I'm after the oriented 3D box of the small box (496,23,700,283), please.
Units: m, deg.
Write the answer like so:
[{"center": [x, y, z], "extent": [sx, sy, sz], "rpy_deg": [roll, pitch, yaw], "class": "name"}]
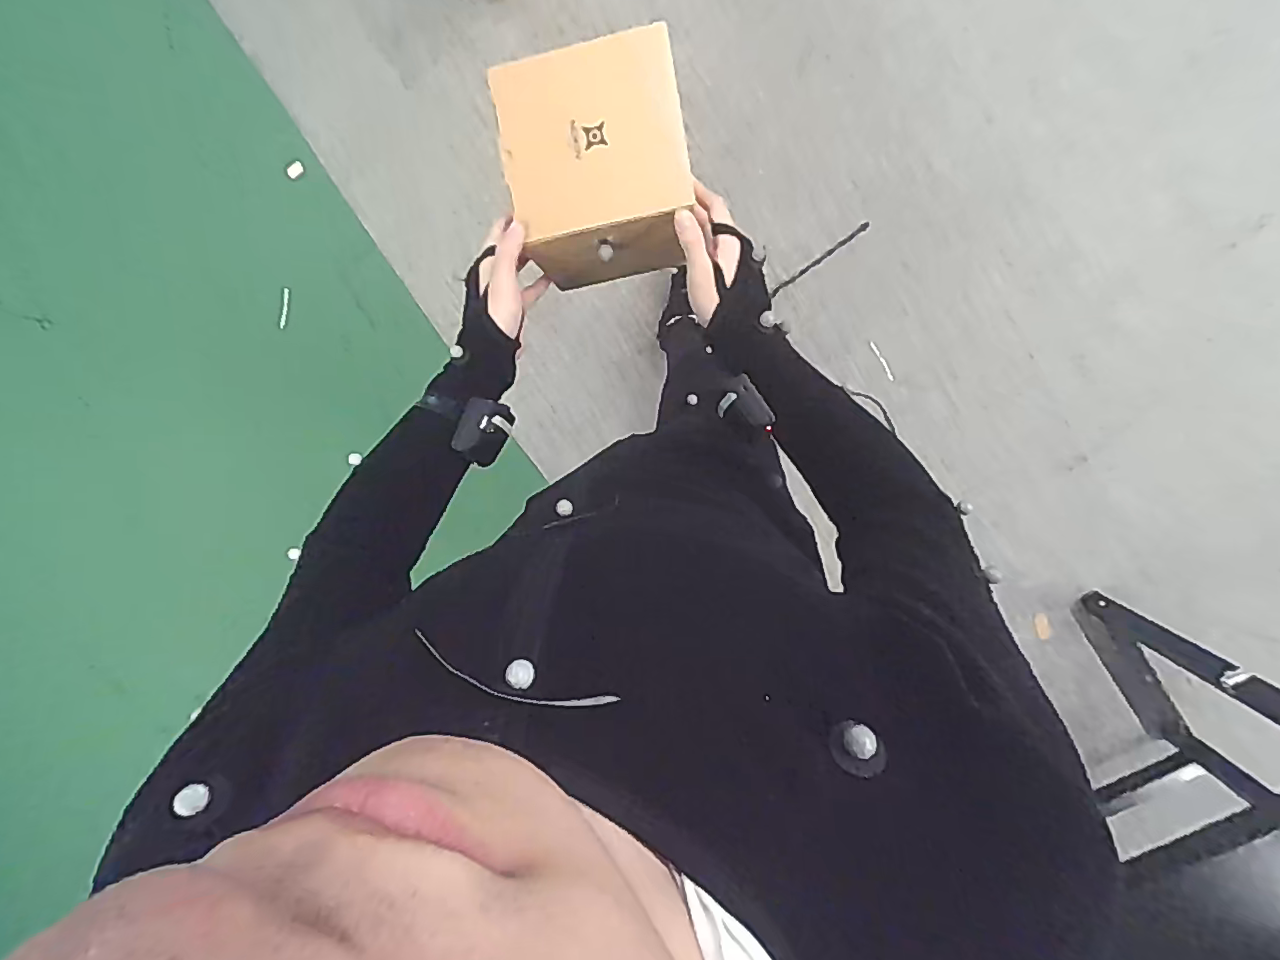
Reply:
[{"center": [-0.033, -0.333, 0.590], "extent": [0.179, 0.176, 0.168], "rpy_deg": [-9, 92, 8], "class": "small box"}]
